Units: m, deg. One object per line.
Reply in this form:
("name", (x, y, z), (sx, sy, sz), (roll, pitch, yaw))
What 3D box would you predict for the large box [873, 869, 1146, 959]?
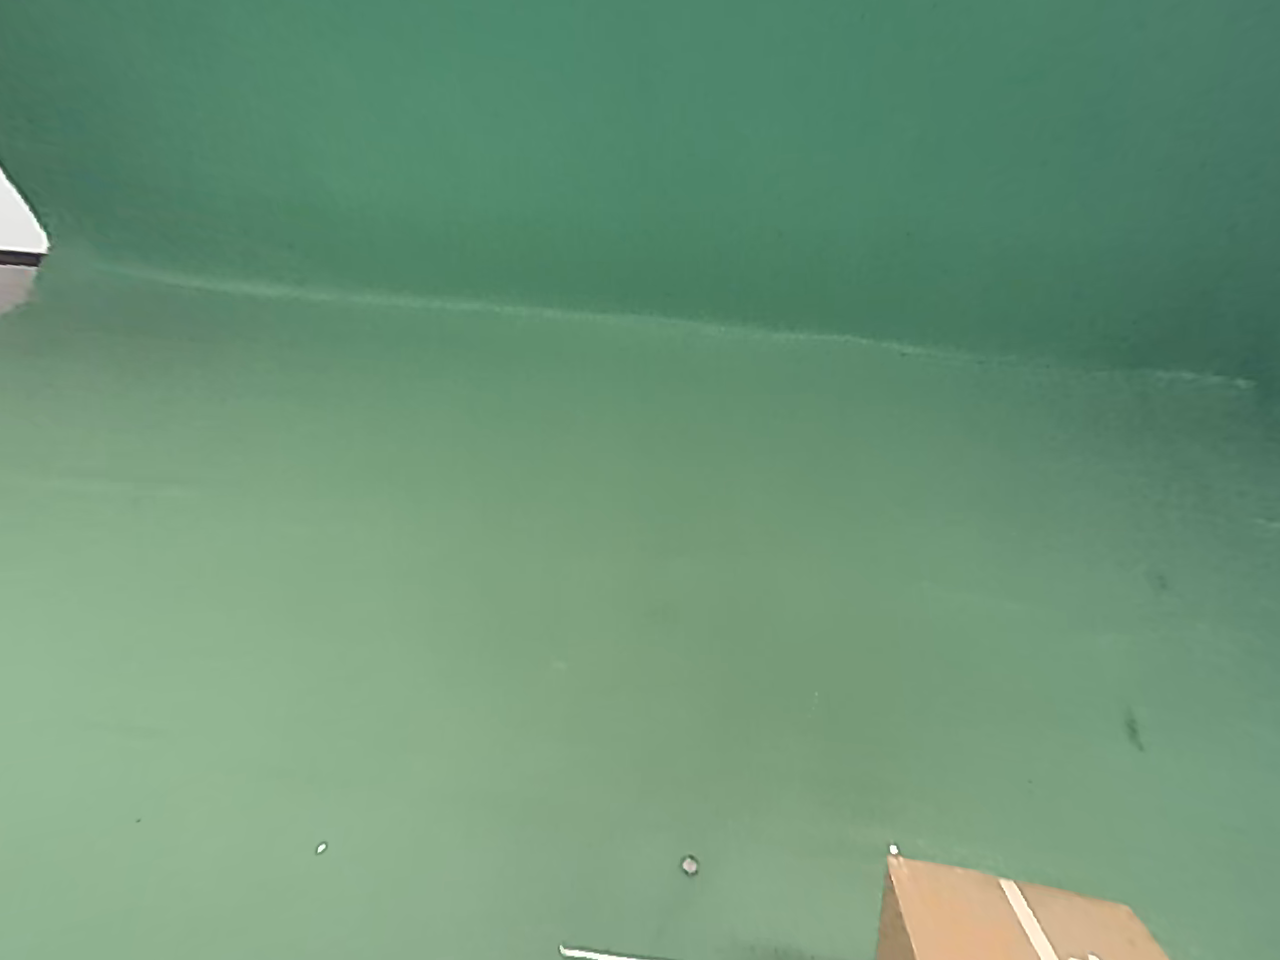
("large box", (0.456, 0.752, 0.593), (0.320, 0.320, 0.408), (6, 5, 12))
